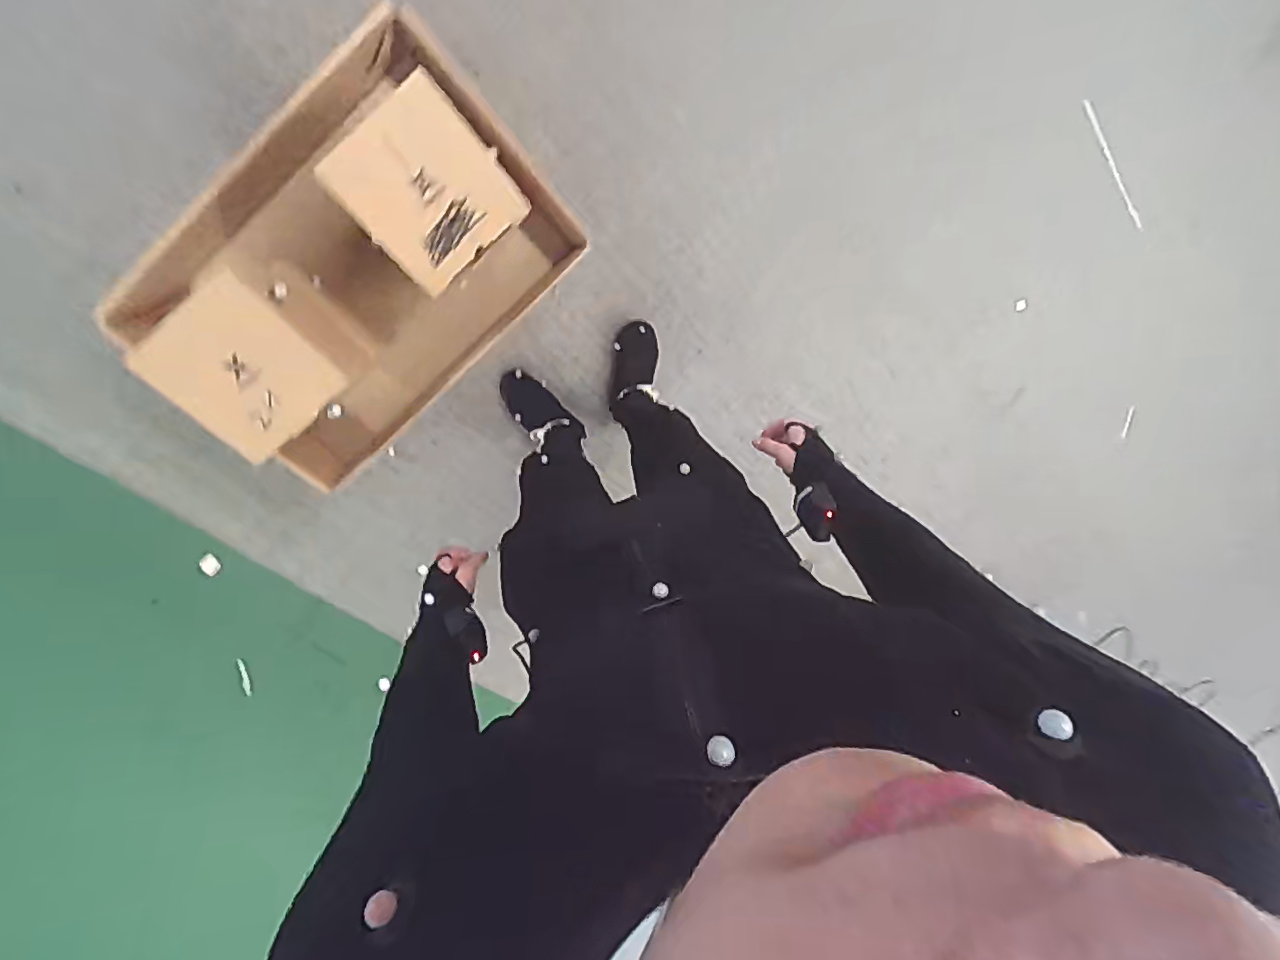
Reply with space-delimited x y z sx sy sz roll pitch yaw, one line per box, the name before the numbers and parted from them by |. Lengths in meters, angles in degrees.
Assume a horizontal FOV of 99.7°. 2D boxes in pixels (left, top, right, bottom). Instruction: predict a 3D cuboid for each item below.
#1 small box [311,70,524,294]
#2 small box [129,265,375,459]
small box | -0.271 -0.368 0.700 0.168 0.176 0.179 -42 115 4
small box | -0.495 -0.161 0.724 0.168 0.176 0.179 -41 115 4
